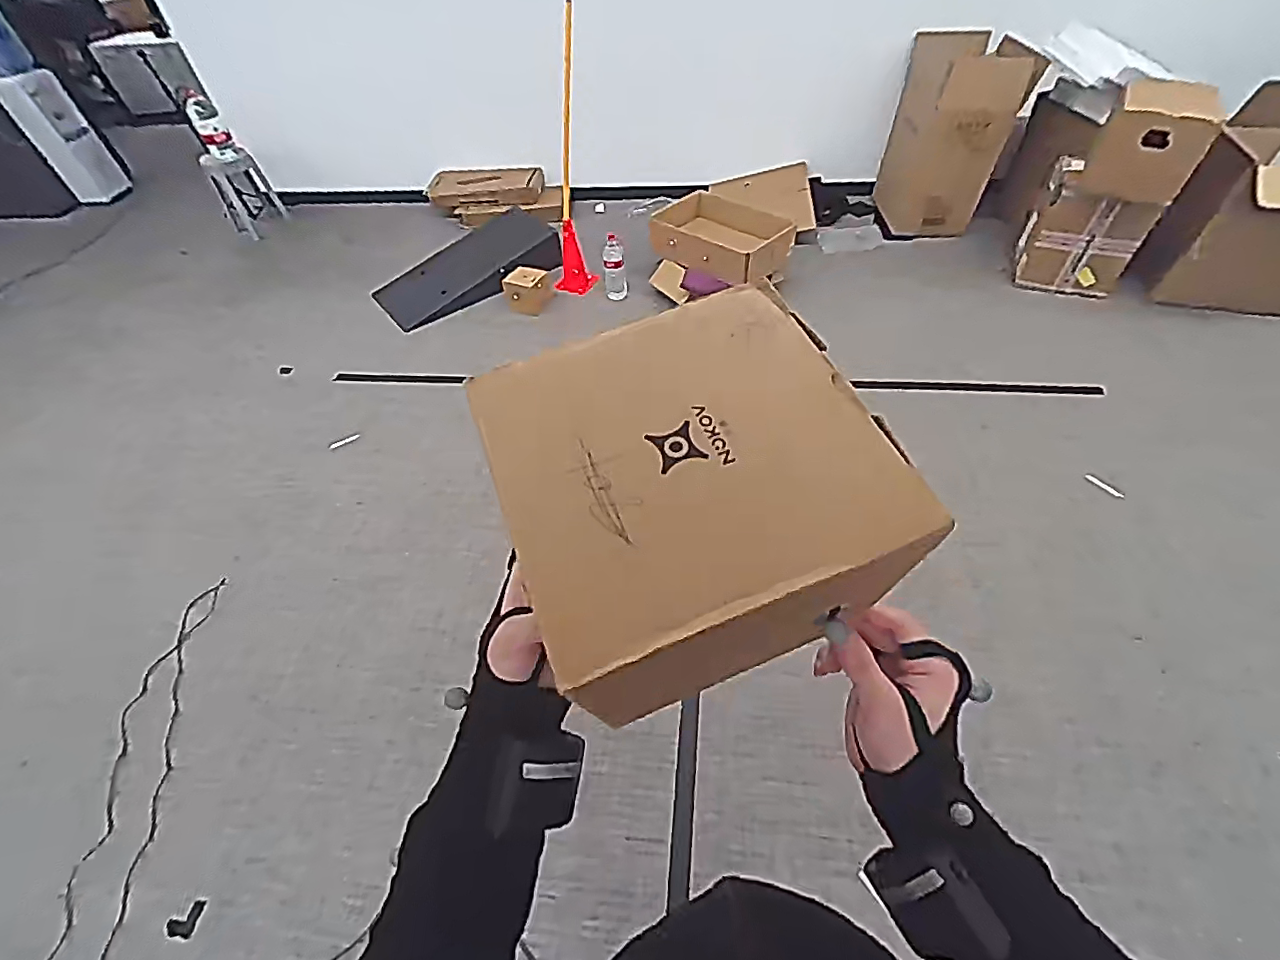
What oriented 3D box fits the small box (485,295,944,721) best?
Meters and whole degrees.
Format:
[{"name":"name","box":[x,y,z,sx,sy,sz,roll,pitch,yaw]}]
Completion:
[{"name":"small box","box":[0.031,0.028,0.331,0.179,0.176,0.168,-22,60,-7]}]
